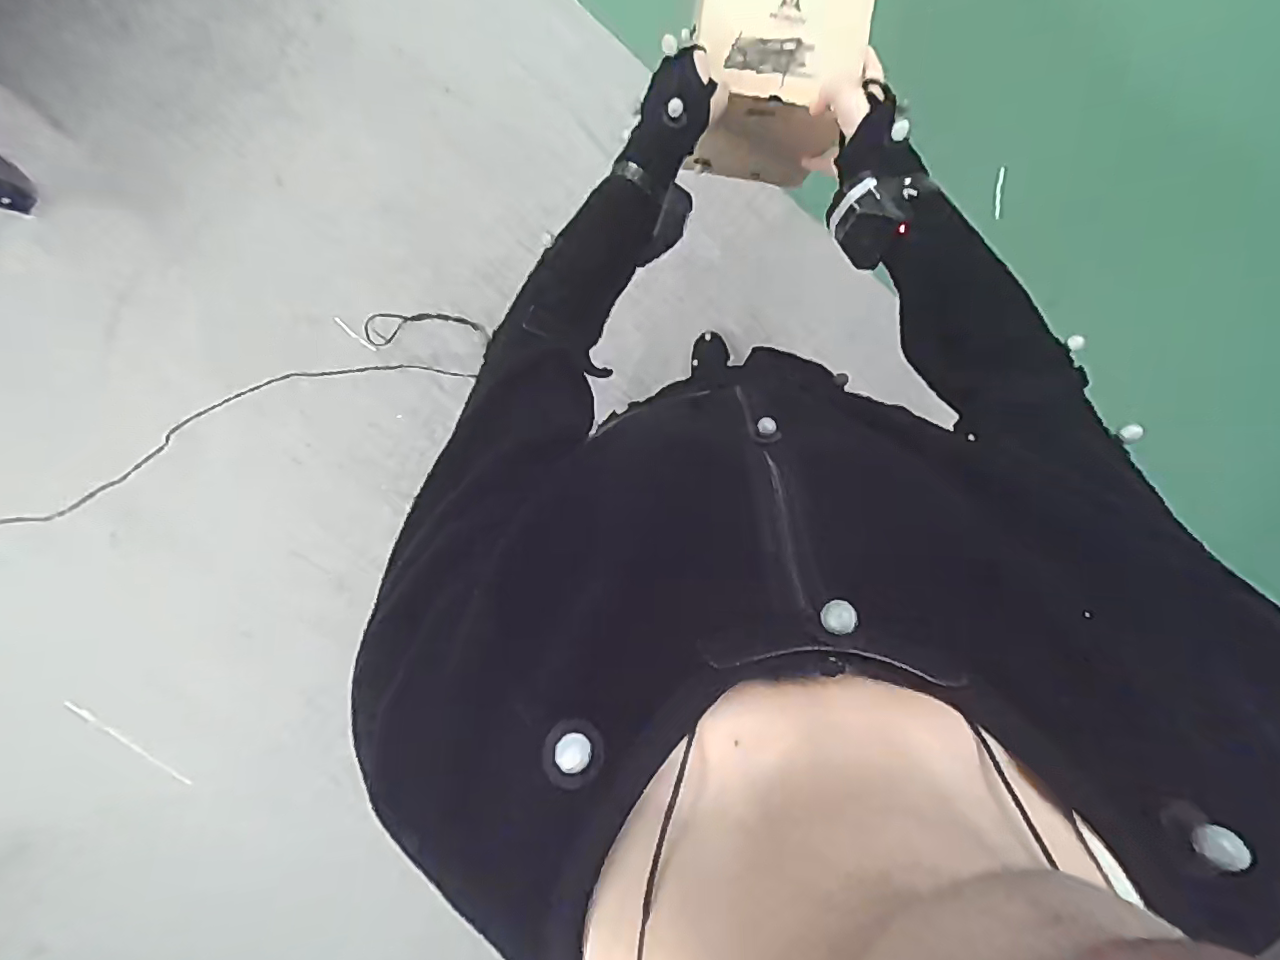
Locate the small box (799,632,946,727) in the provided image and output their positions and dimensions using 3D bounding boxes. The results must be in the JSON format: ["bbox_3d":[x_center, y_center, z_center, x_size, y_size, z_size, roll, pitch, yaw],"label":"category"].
[{"bbox_3d":[0.447,0.435,1.069,0.179,0.176,0.168,38,99,-5],"label":"small box"}]

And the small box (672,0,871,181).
[{"bbox_3d":[0.133,-0.459,0.590,0.168,0.176,0.179,8,95,-5],"label":"small box"}]
